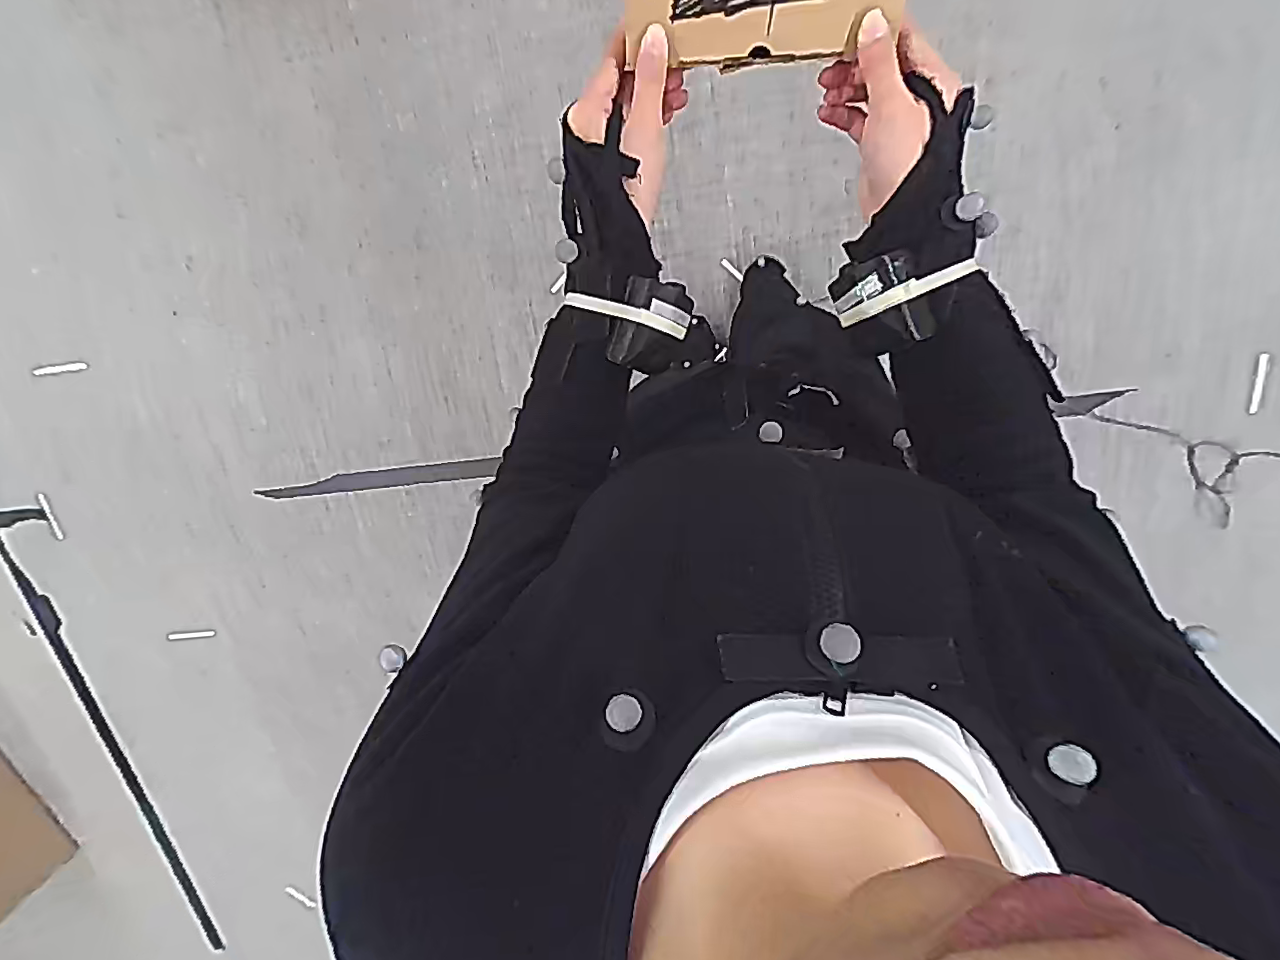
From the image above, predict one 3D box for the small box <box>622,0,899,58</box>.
[{"bbox_3d":[0.073,-0.383,0.344,0.168,0.176,0.179,0,126,3],"label":"small box"}]
